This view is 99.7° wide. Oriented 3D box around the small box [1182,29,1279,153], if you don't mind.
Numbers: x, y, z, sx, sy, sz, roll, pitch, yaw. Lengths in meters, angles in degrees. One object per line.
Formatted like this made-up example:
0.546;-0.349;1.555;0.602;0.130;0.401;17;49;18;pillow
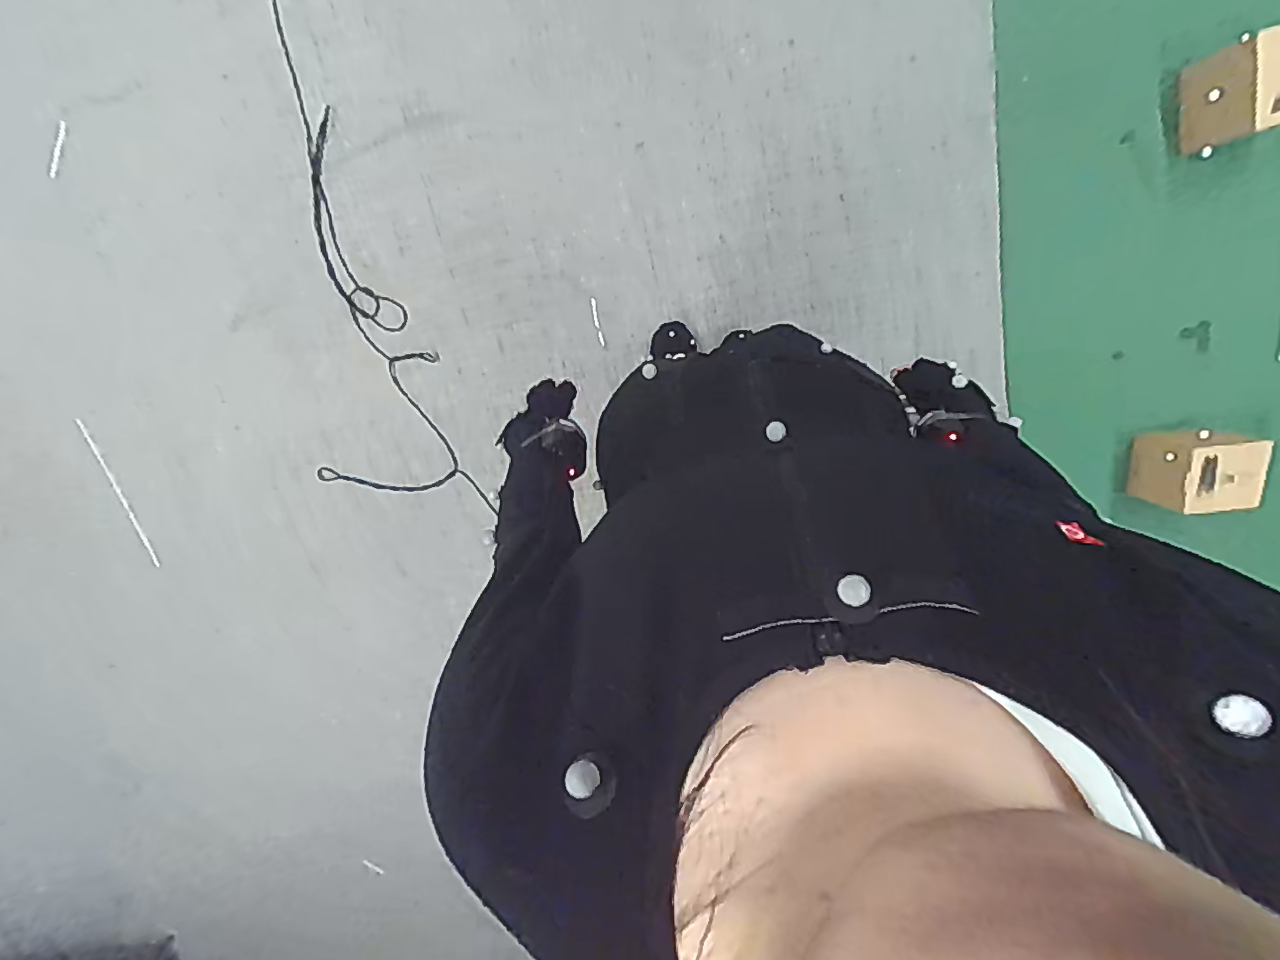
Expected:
1.275;-0.802;1.112;0.168;0.176;0.179;-14;104;7;small box
